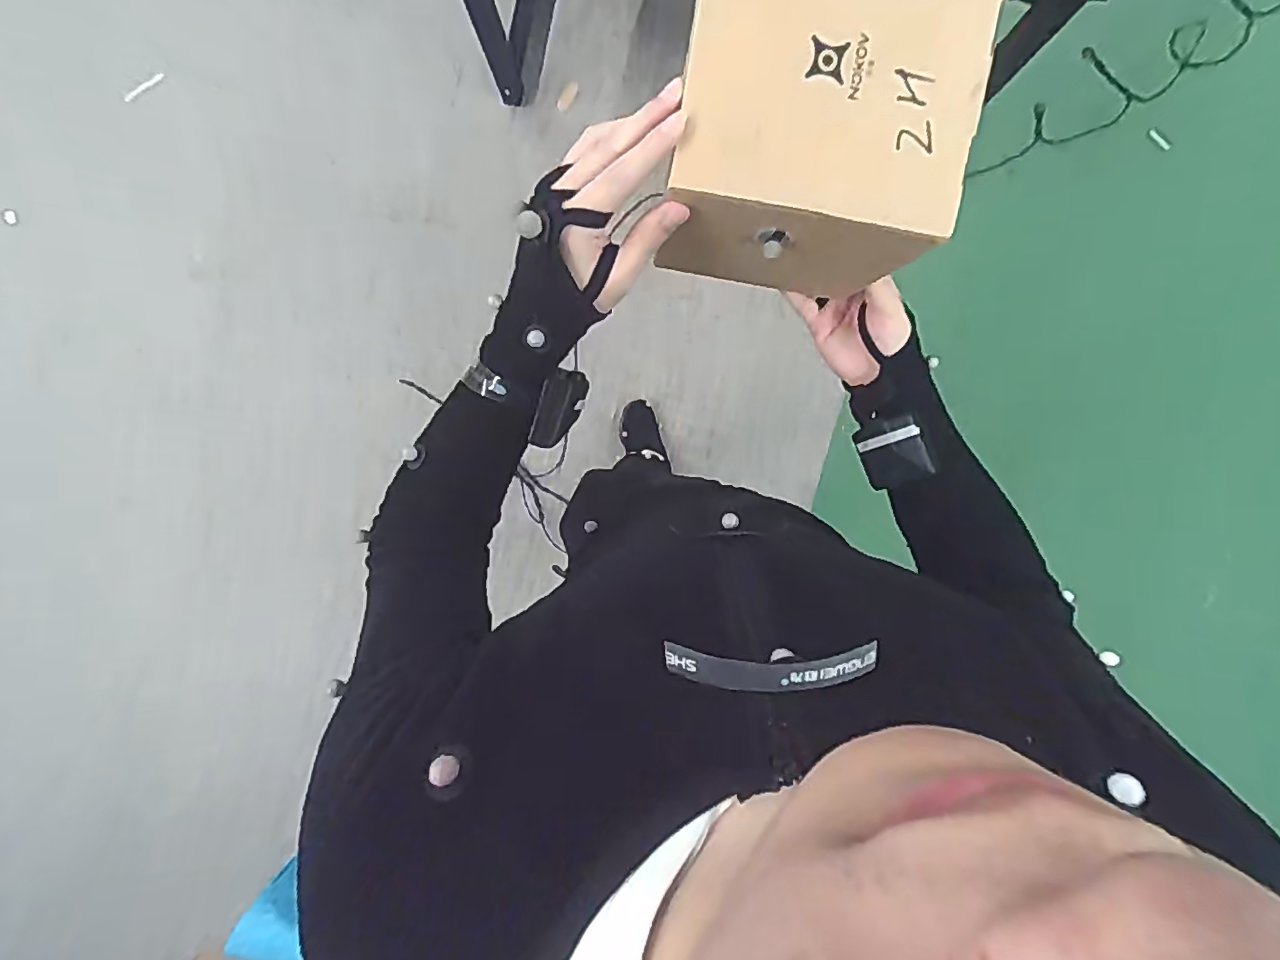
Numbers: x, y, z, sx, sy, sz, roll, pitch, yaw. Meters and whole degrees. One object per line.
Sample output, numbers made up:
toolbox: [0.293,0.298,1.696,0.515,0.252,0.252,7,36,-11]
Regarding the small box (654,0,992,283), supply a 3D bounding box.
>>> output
small box: [0.108,-0.254,0.390,0.179,0.176,0.168,10,97,-1]
